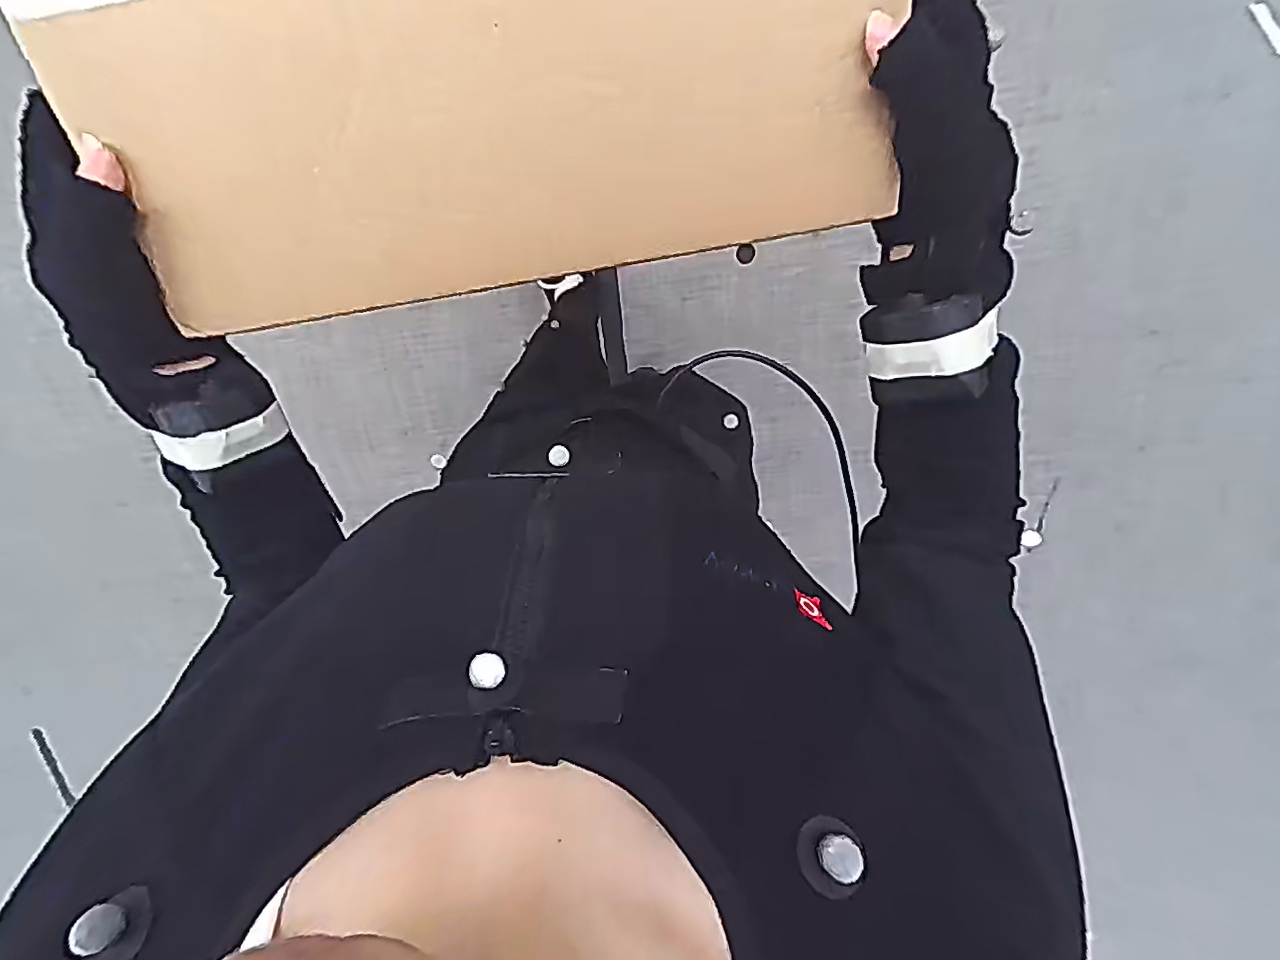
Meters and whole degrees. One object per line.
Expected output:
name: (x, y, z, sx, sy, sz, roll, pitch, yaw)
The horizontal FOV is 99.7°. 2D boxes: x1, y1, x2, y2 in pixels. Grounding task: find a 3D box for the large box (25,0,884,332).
large box: (-0.090, -0.321, 0.371, 0.408, 0.320, 0.320, -8, 116, 4)
